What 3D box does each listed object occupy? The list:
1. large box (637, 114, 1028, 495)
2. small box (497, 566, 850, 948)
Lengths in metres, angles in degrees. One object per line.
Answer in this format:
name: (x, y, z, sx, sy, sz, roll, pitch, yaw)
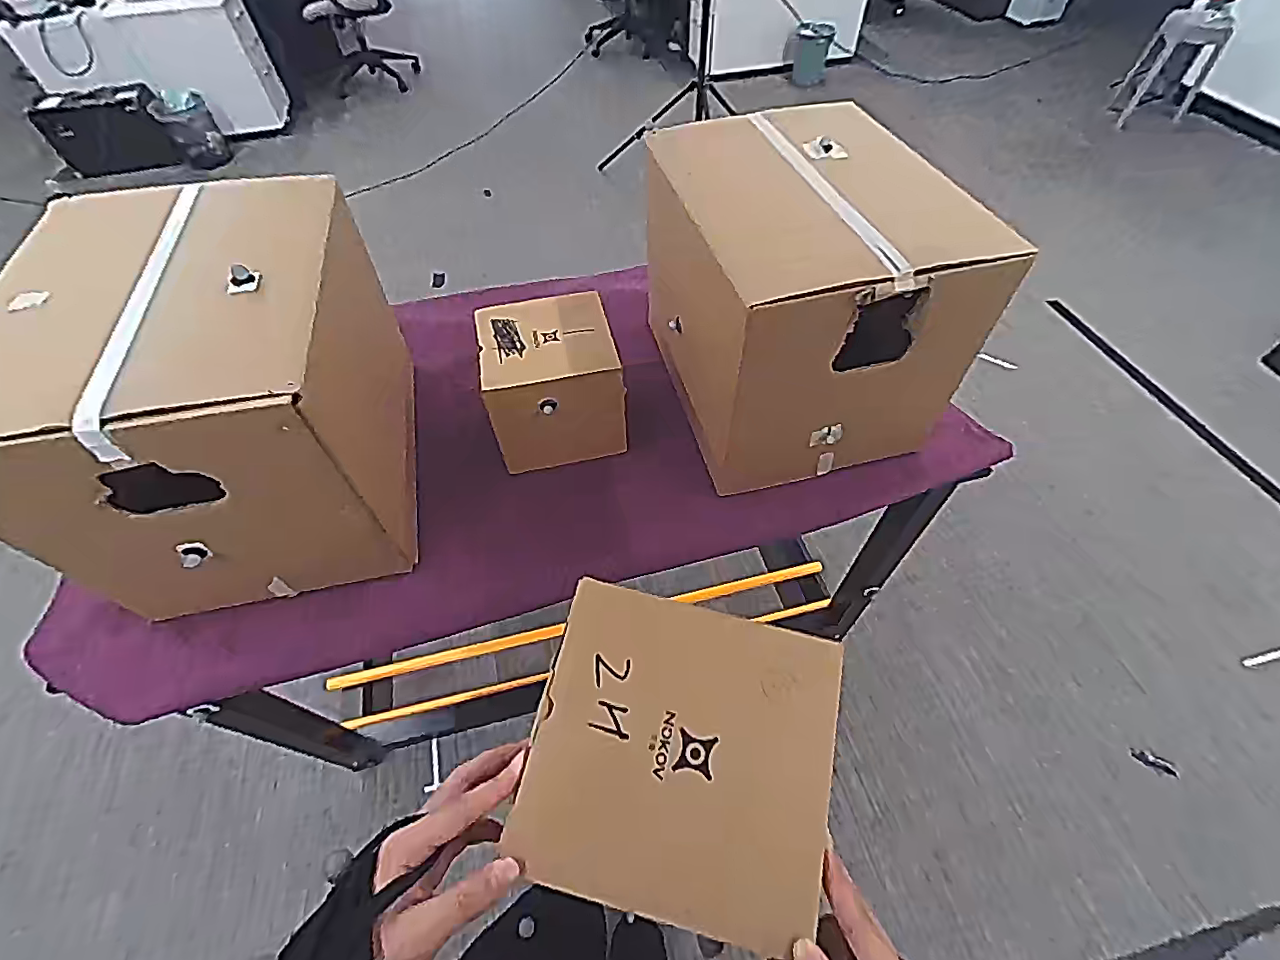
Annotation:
large box: (0.200, -0.248, 0.755, 0.320, 0.320, 0.408, -12, 53, -8)
small box: (0.026, 0.179, 0.384, 0.179, 0.176, 0.168, 13, 65, 5)
